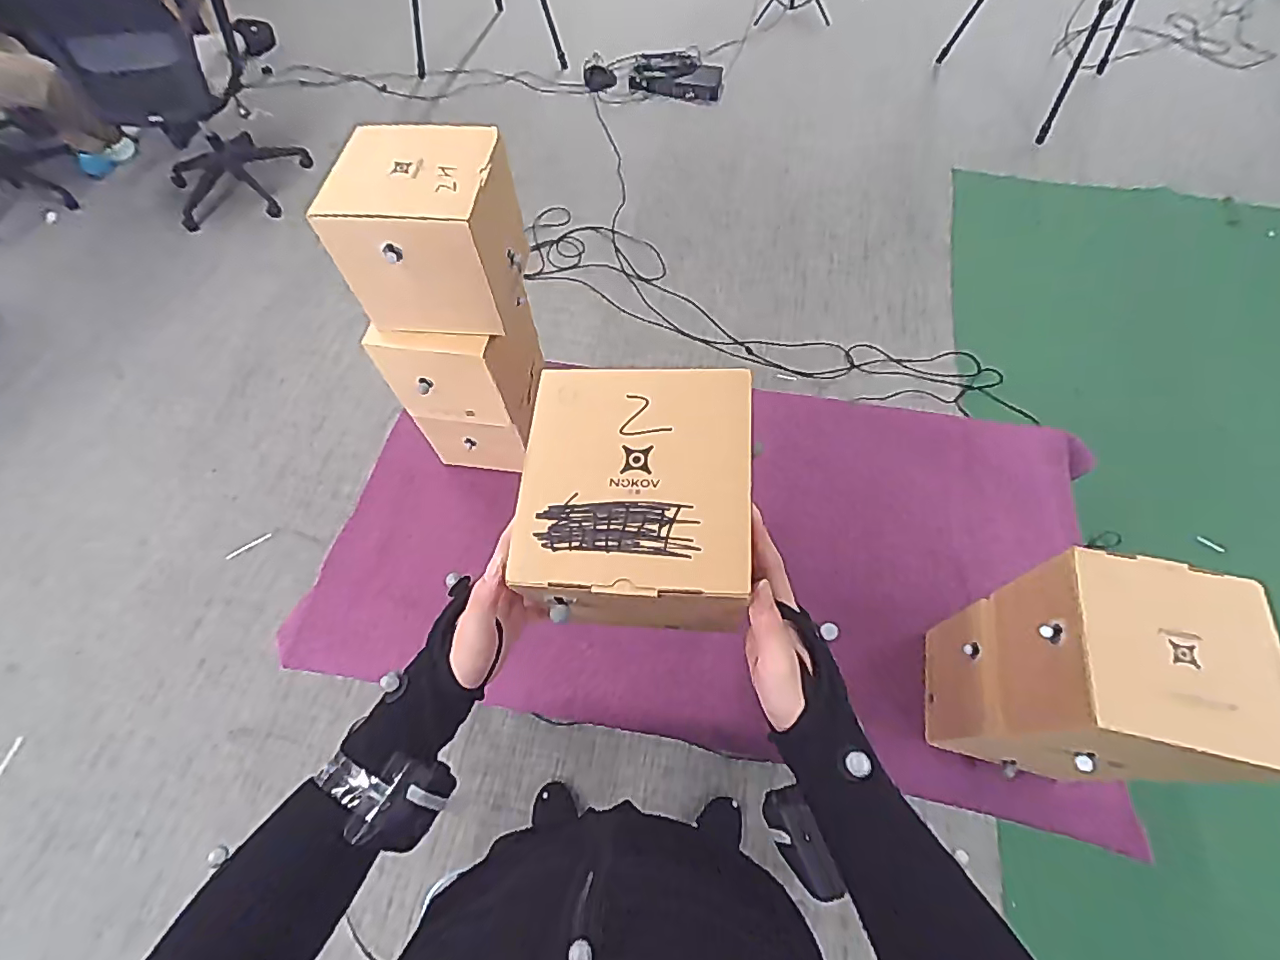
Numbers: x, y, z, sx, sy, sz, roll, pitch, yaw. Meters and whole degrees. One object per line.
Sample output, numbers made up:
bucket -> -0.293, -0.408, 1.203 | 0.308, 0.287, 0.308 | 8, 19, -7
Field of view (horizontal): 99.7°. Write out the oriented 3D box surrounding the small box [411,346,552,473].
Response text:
small box -> -0.262, -0.126, 0.945 | 0.179, 0.176, 0.168 | 6, 62, 5

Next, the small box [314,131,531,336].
small box -> -0.247, -0.297, 0.667 | 0.179, 0.176, 0.168 | 4, 62, 3

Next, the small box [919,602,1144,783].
small box -> 0.494, 0.280, 0.707 | 0.179, 0.176, 0.168 | 13, 61, 8

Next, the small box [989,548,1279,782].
small box -> 0.493, 0.198, 0.566 | 0.168, 0.176, 0.179 | 12, 62, 10

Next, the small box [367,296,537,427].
small box -> -0.260, -0.198, 0.800 | 0.168, 0.176, 0.179 | 7, 61, 5
